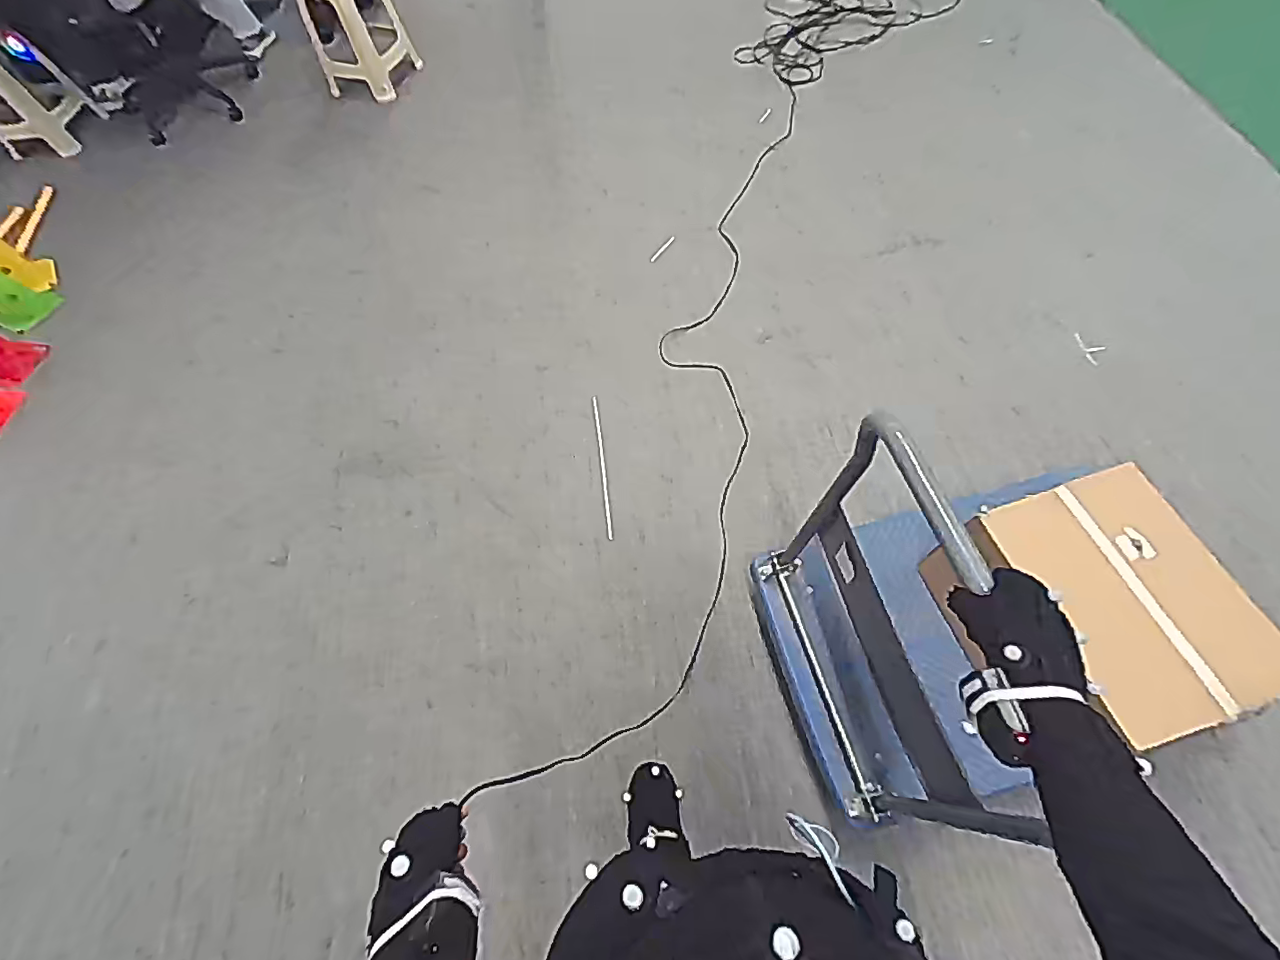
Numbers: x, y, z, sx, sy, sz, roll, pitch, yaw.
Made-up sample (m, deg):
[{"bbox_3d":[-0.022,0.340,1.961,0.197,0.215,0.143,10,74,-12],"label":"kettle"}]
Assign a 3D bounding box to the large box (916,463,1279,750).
[{"bbox_3d":[0.813,0.247,1.021,0.320,0.320,0.408,-18,63,-4],"label":"large box"}]
